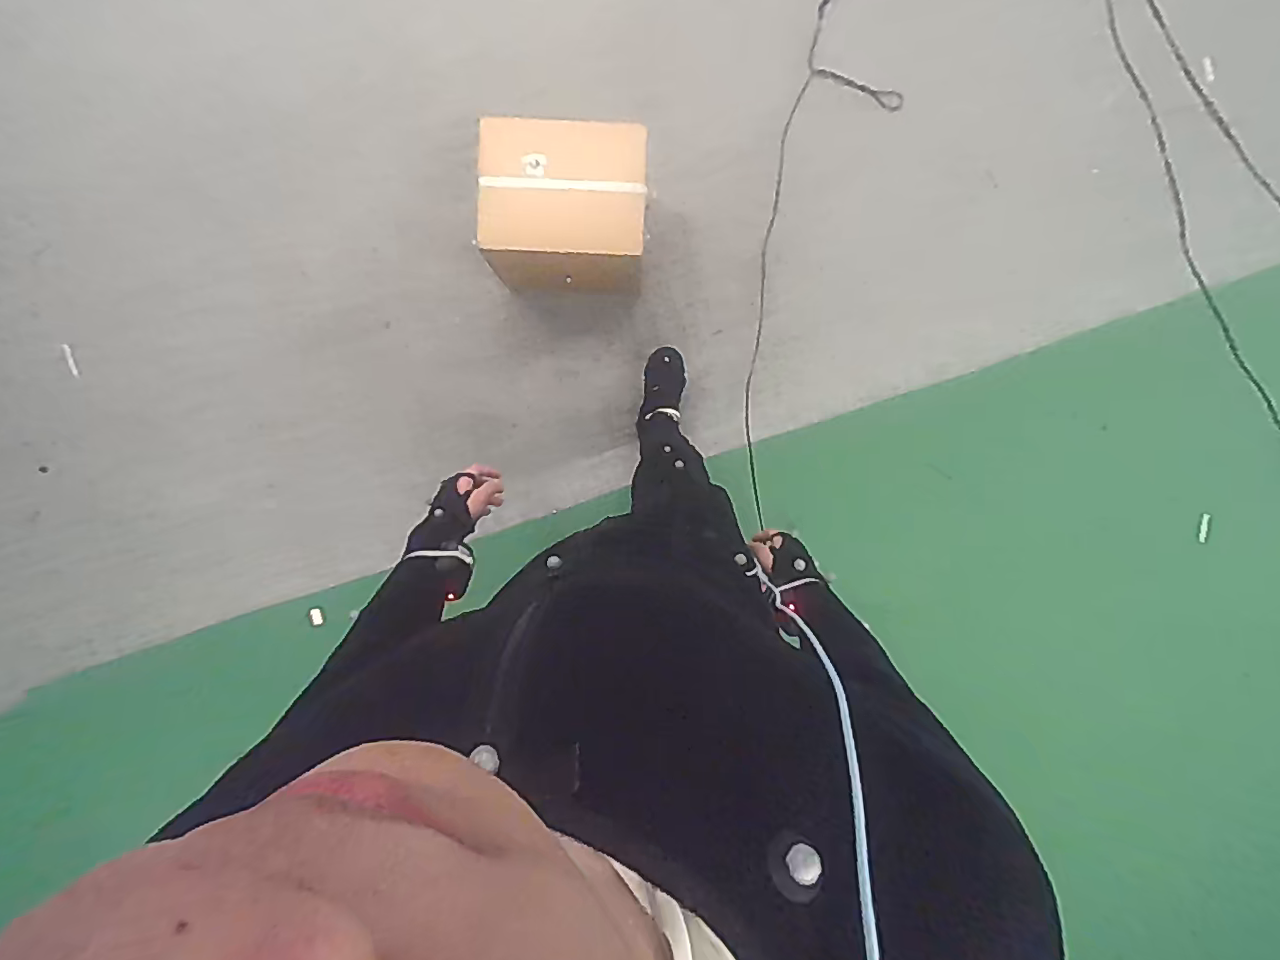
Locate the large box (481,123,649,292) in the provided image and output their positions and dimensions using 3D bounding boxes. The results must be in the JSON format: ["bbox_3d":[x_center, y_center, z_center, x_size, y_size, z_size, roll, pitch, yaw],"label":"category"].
[{"bbox_3d":[-0.178,-0.705,1.449,0.408,0.320,0.320,3,91,1],"label":"large box"}]
